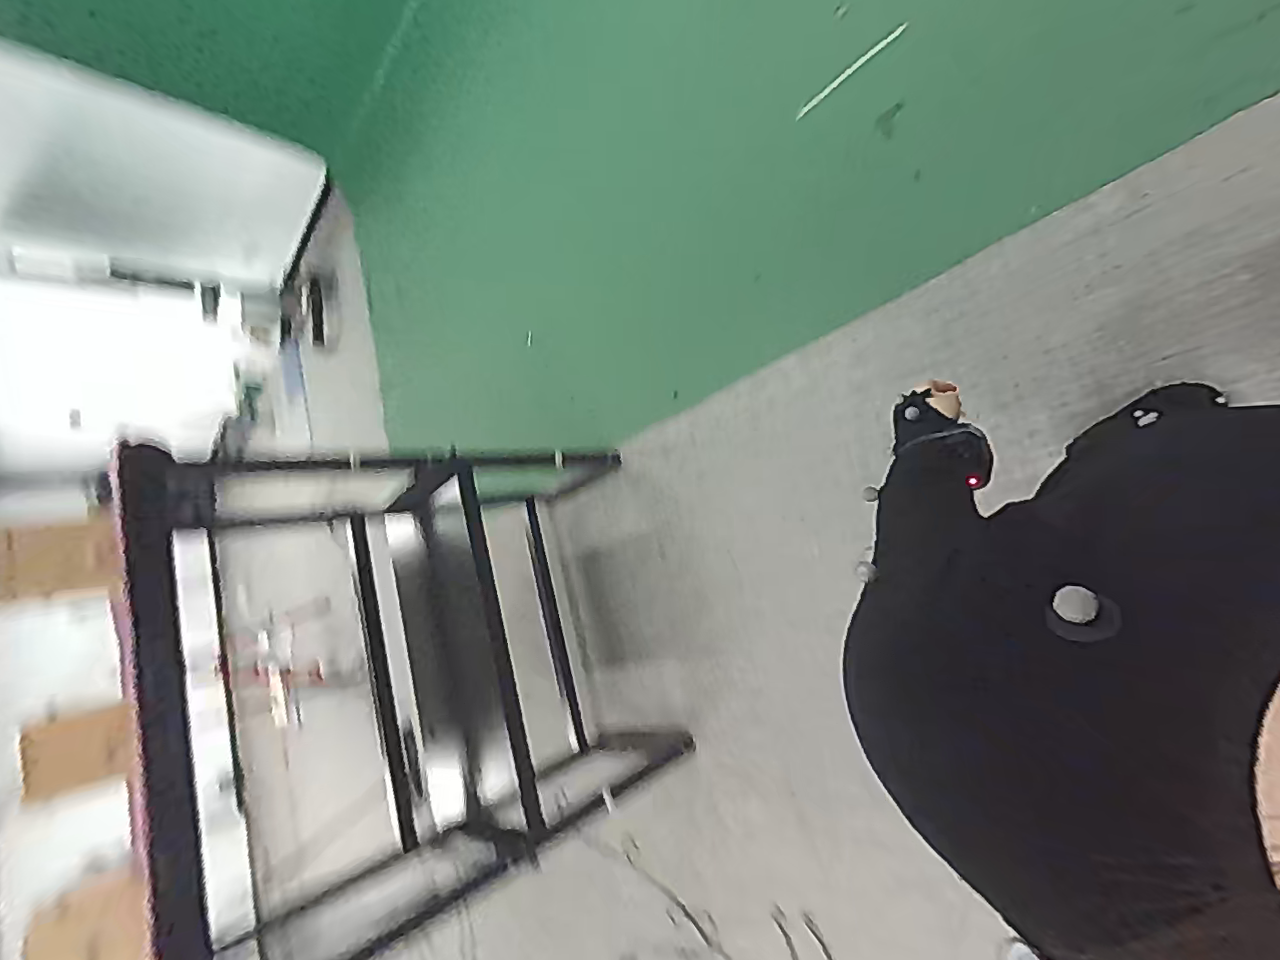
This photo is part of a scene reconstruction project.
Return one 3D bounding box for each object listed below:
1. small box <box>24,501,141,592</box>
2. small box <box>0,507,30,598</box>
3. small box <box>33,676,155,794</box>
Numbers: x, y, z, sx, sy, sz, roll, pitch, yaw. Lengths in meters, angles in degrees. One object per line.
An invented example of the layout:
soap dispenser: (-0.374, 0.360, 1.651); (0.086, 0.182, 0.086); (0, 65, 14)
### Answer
small box: (-1.212, 0.145, 1.181); (0.179, 0.176, 0.168); (-17, 81, 43)
small box: (-1.327, 0.153, 1.064); (0.179, 0.176, 0.168); (-18, 81, 43)
small box: (-1.121, 0.515, 1.119); (0.179, 0.176, 0.168); (-19, 79, 44)
